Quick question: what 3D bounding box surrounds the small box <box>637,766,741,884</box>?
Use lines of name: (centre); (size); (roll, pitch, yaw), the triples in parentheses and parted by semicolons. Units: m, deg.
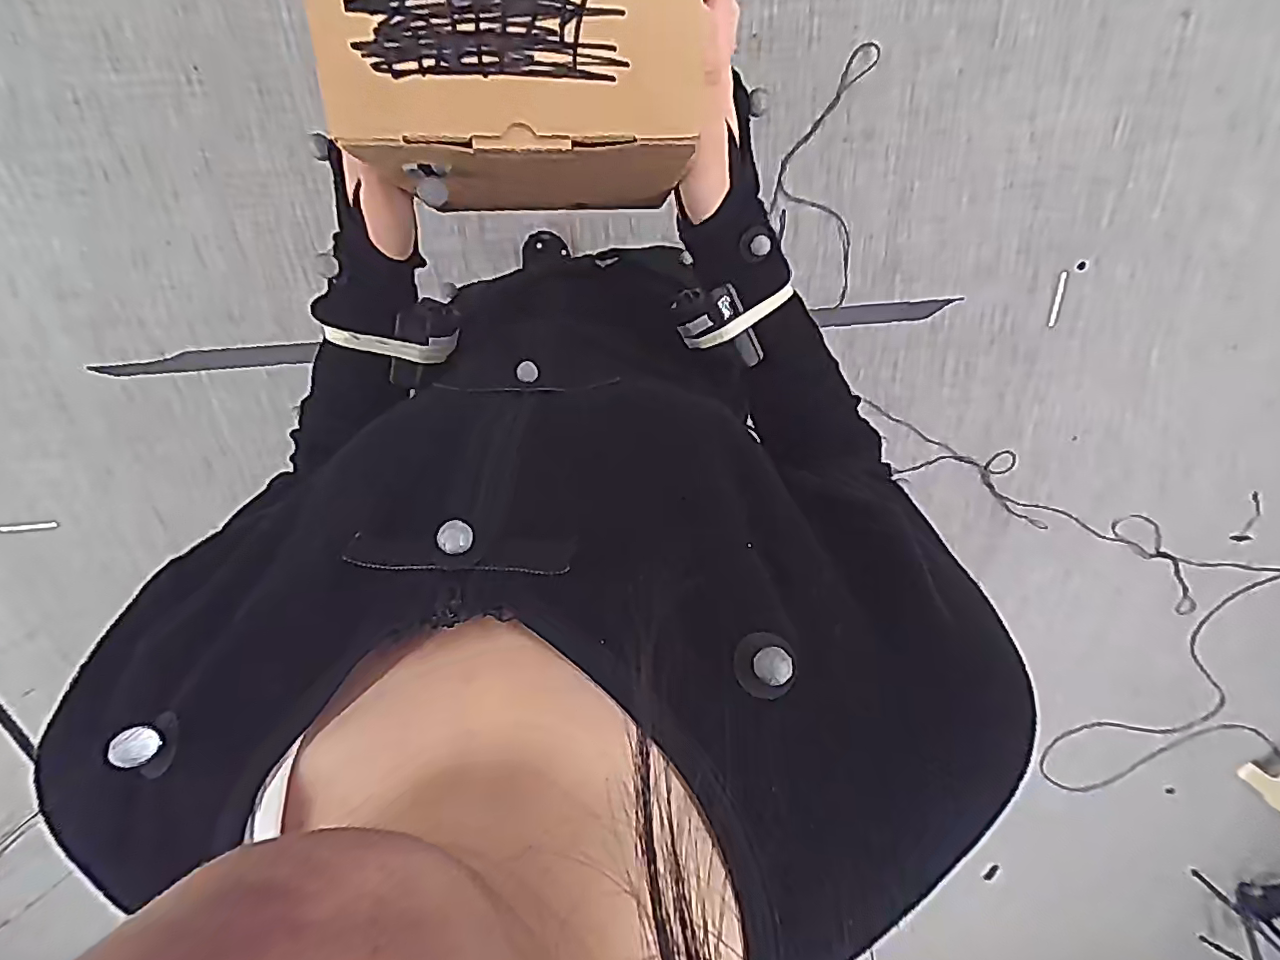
small box: (0.089, 0.665, 0.998); (0.168, 0.176, 0.179); (-8, 115, -2)

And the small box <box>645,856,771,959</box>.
small box: (0.104, 0.735, 0.852); (0.179, 0.176, 0.168); (-9, 117, -2)
